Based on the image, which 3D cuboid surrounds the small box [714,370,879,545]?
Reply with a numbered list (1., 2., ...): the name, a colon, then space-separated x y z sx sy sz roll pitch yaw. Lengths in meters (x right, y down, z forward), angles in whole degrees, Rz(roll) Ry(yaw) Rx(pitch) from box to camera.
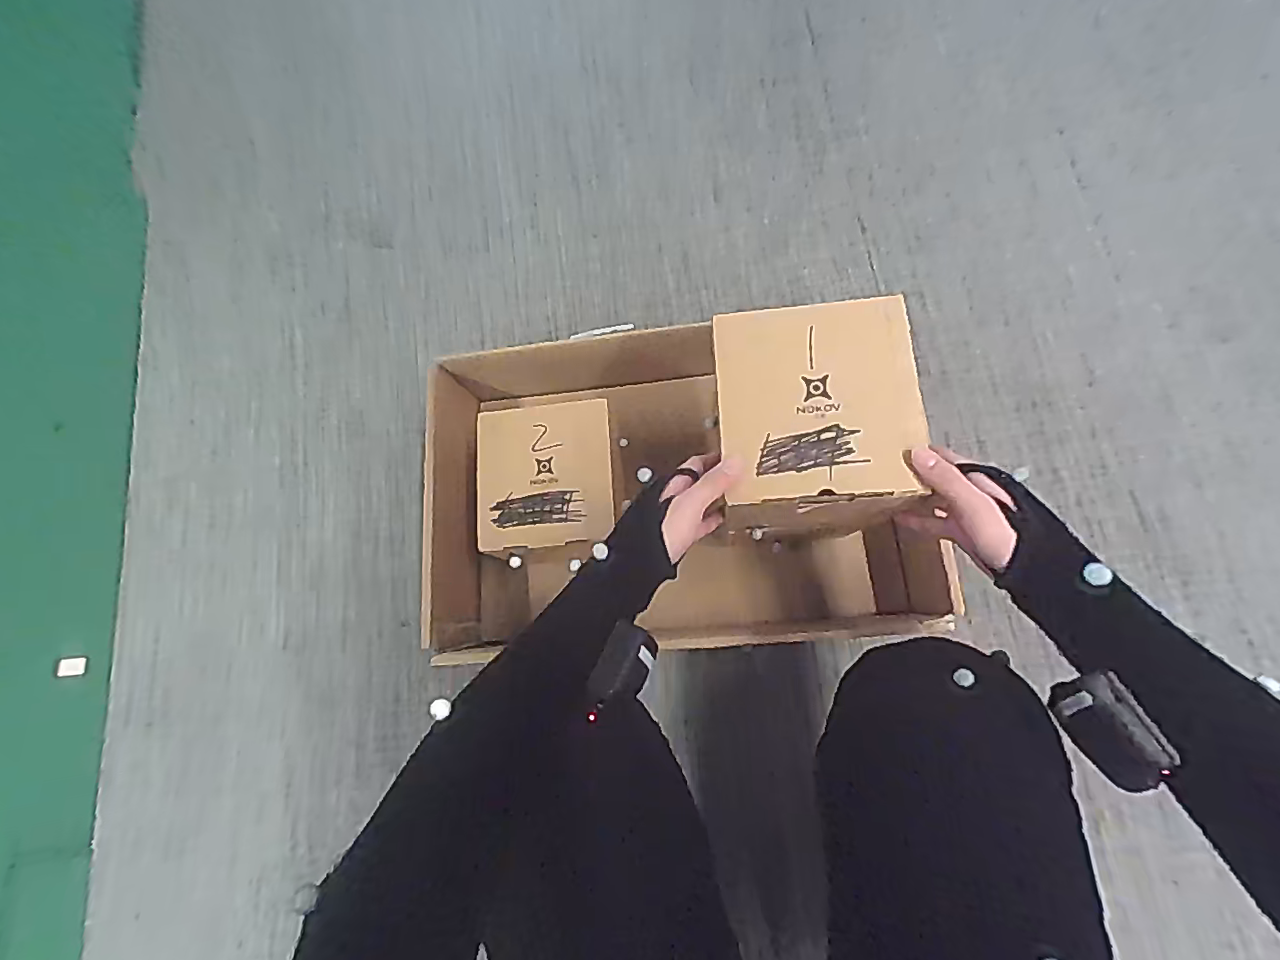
1. small box: 0.182 -0.018 0.685 0.168 0.176 0.179 -6 77 7
